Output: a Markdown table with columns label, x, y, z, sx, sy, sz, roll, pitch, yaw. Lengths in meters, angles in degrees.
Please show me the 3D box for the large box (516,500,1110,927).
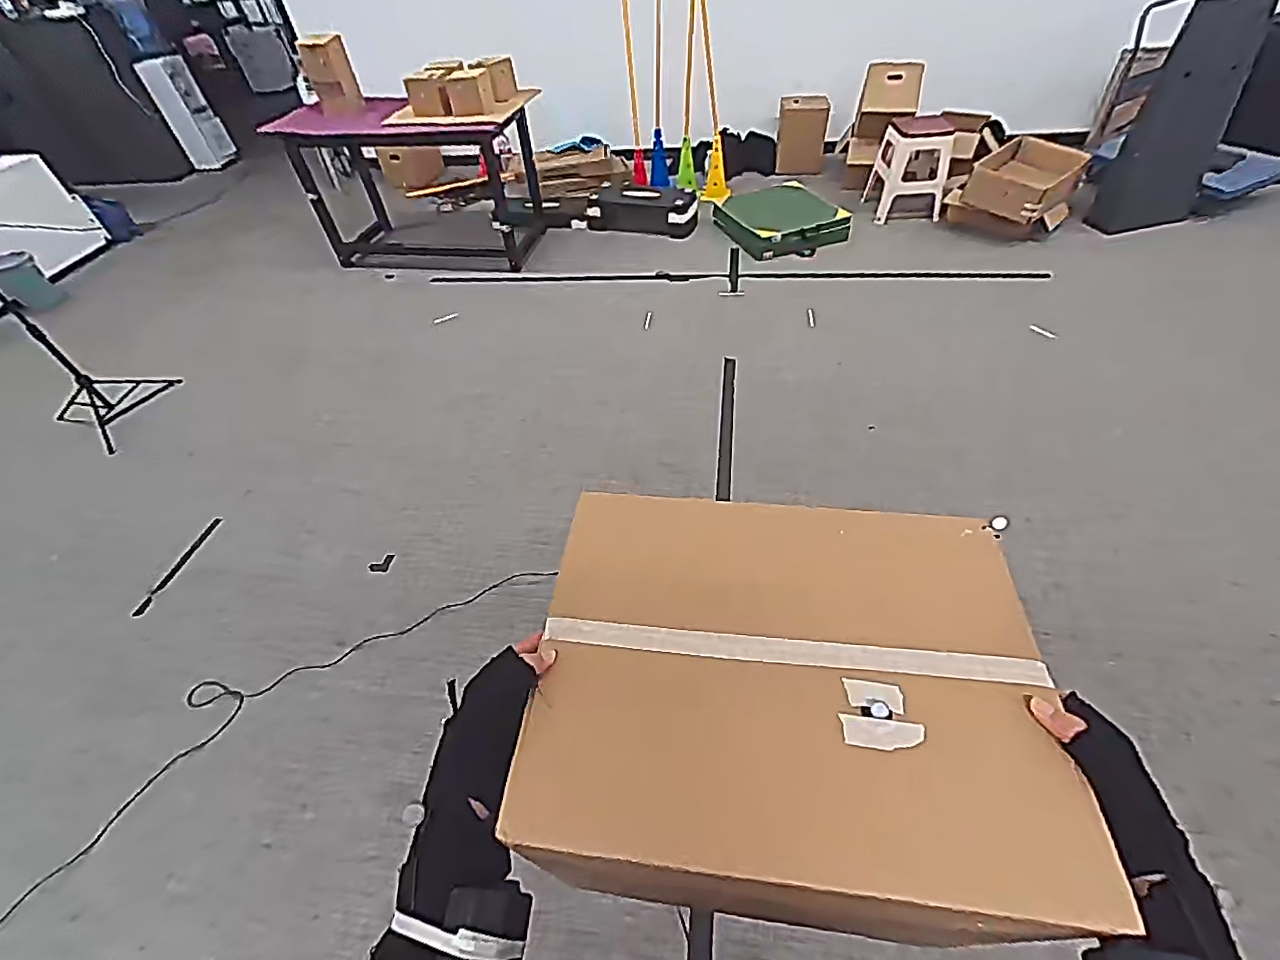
| label | x | y | z | sx | sy | sz | roll | pitch | yaw |
| --- | --- | --- | --- | --- | --- | --- | --- | --- | --- |
| large box | 0.126 | 0.244 | 0.572 | 0.408 | 0.320 | 0.320 | 4 | 50 | 6 |
